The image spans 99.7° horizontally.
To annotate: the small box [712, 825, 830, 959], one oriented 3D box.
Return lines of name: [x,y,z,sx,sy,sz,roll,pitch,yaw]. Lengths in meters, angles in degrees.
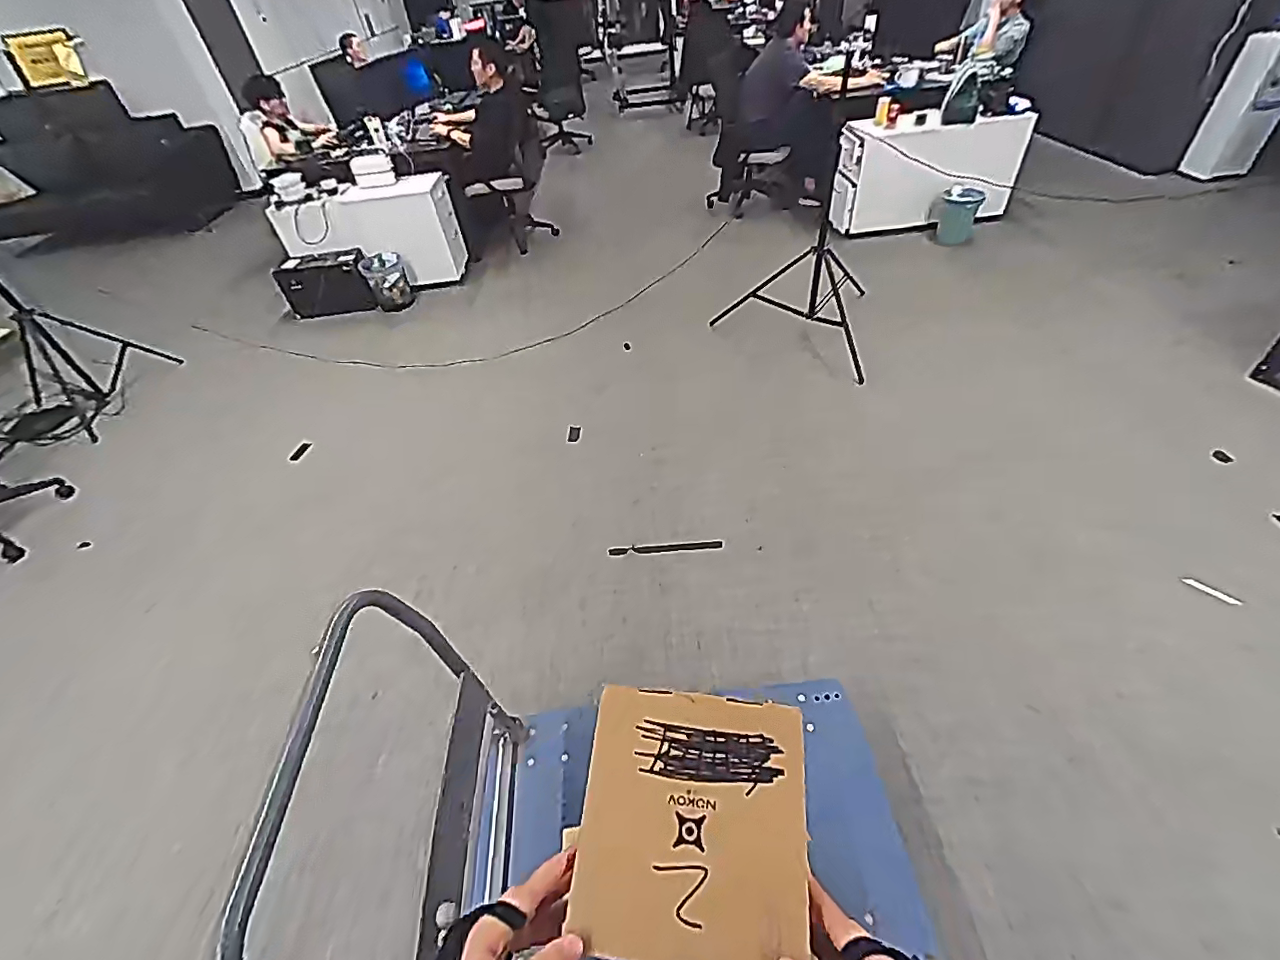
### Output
small box: [0.224,0.754,0.976,0.168,0.176,0.179,-8,44,0]

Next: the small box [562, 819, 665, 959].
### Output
small box: [-0.048,0.761,1.006,0.168,0.176,0.179,-8,44,0]
